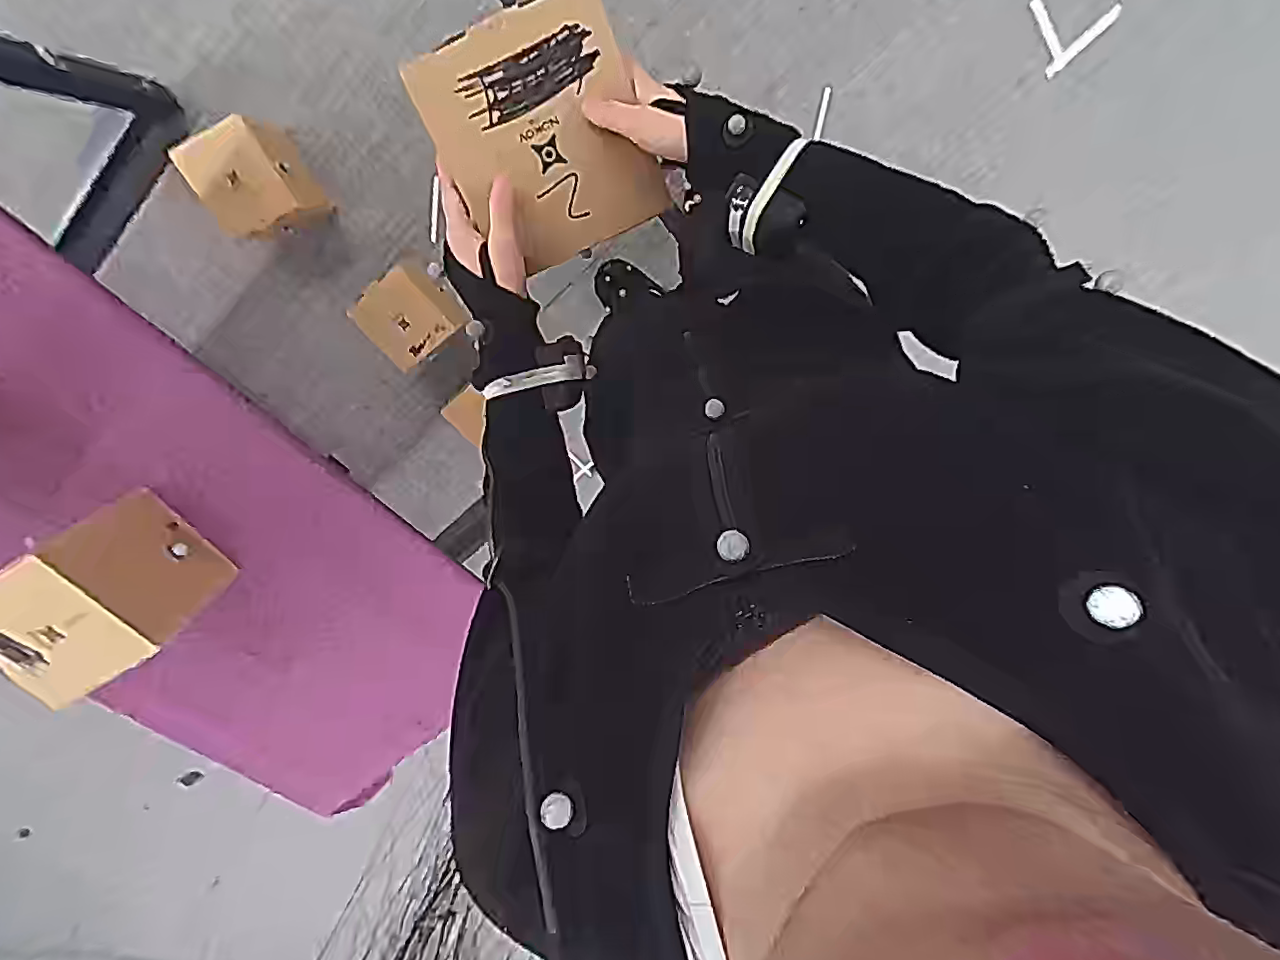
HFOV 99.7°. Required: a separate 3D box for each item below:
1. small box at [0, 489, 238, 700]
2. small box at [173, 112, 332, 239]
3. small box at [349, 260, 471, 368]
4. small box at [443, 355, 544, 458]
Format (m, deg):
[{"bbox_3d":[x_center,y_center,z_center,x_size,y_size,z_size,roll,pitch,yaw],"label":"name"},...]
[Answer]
[{"bbox_3d":[-0.690,0.143,0.706,0.179,0.176,0.168,-28,115,9],"label":"small box"},{"bbox_3d":[-0.795,-0.627,1.132,0.168,0.176,0.179,-23,117,7],"label":"small box"},{"bbox_3d":[-0.527,-0.394,1.267,0.168,0.176,0.179,-35,114,12],"label":"small box"},{"bbox_3d":[-0.362,-0.194,1.380,0.168,0.176,0.179,-38,113,13],"label":"small box"}]
